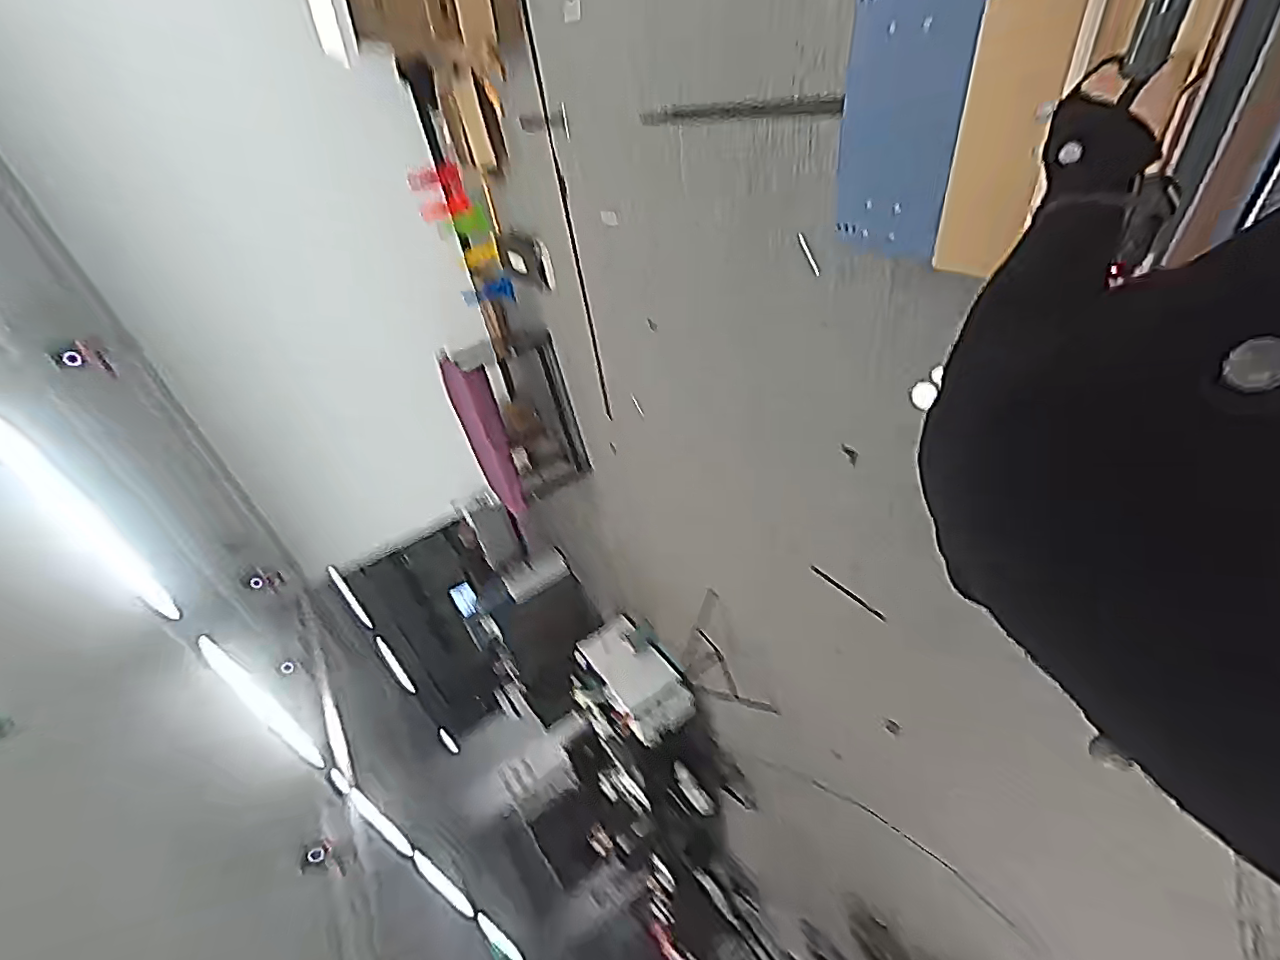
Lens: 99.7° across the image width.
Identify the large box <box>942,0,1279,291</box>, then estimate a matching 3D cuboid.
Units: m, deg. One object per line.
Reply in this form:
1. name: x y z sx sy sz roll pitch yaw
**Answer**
1. large box: 0.756 -0.566 0.860 0.320 0.320 0.408 39 147 43
